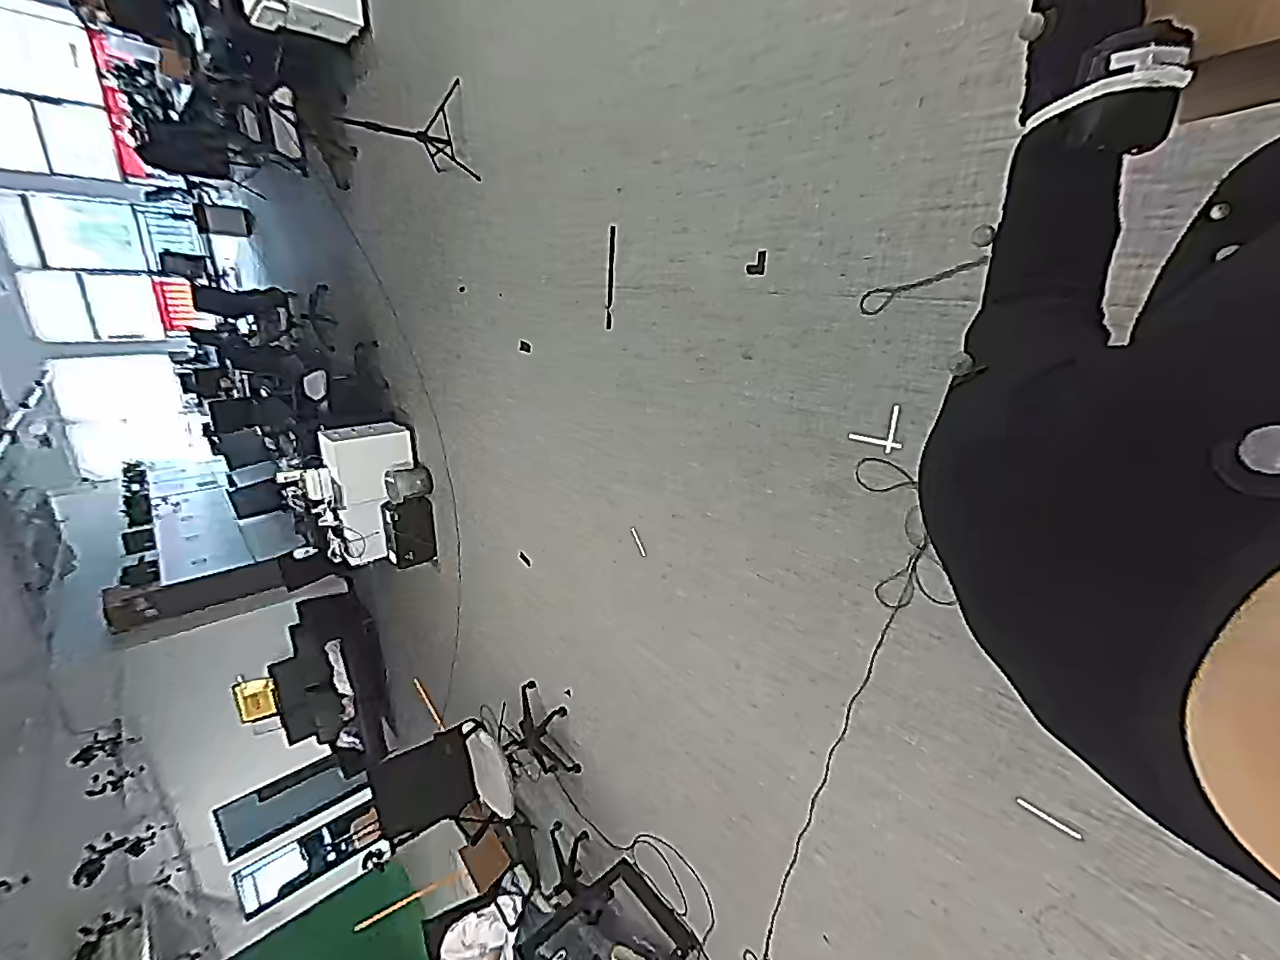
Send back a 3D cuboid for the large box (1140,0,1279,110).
[{"bbox_3d":[0.574,-0.463,0.295,0.408,0.320,0.320,11,117,46],"label":"large box"}]
